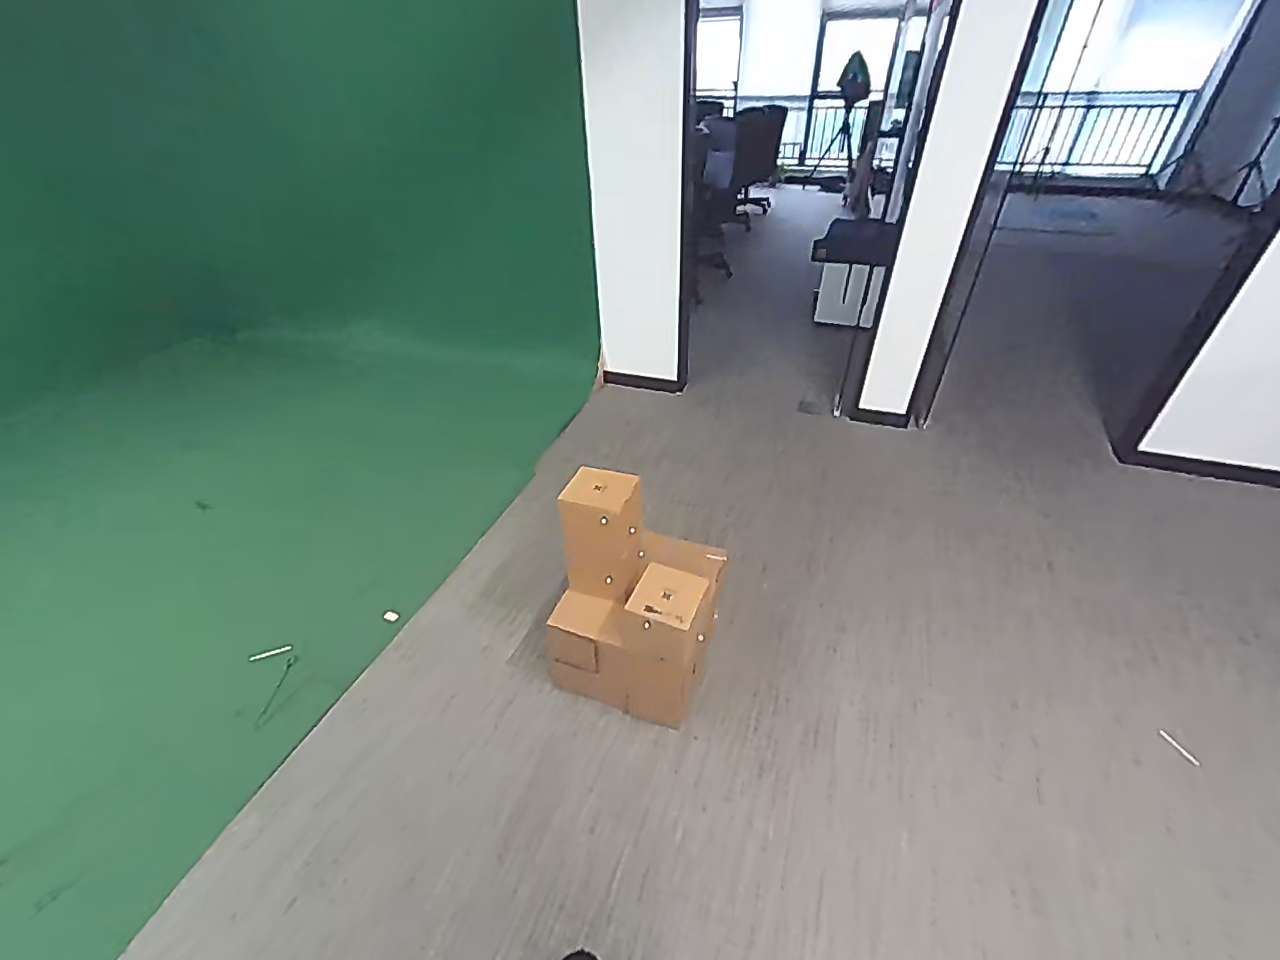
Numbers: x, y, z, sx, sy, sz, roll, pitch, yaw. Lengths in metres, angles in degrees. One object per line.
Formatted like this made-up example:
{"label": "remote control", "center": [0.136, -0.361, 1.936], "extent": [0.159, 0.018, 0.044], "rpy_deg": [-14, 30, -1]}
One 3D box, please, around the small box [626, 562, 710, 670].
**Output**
{"label": "small box", "center": [0.070, 0.348, 1.387], "extent": [0.168, 0.176, 0.179], "rpy_deg": [15, 38, 19]}

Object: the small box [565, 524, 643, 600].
{"label": "small box", "center": [-0.098, 0.224, 1.564], "extent": [0.179, 0.176, 0.168], "rpy_deg": [10, 36, 16]}

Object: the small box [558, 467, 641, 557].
{"label": "small box", "center": [-0.105, 0.089, 1.474], "extent": [0.179, 0.176, 0.168], "rpy_deg": [11, 37, 16]}
